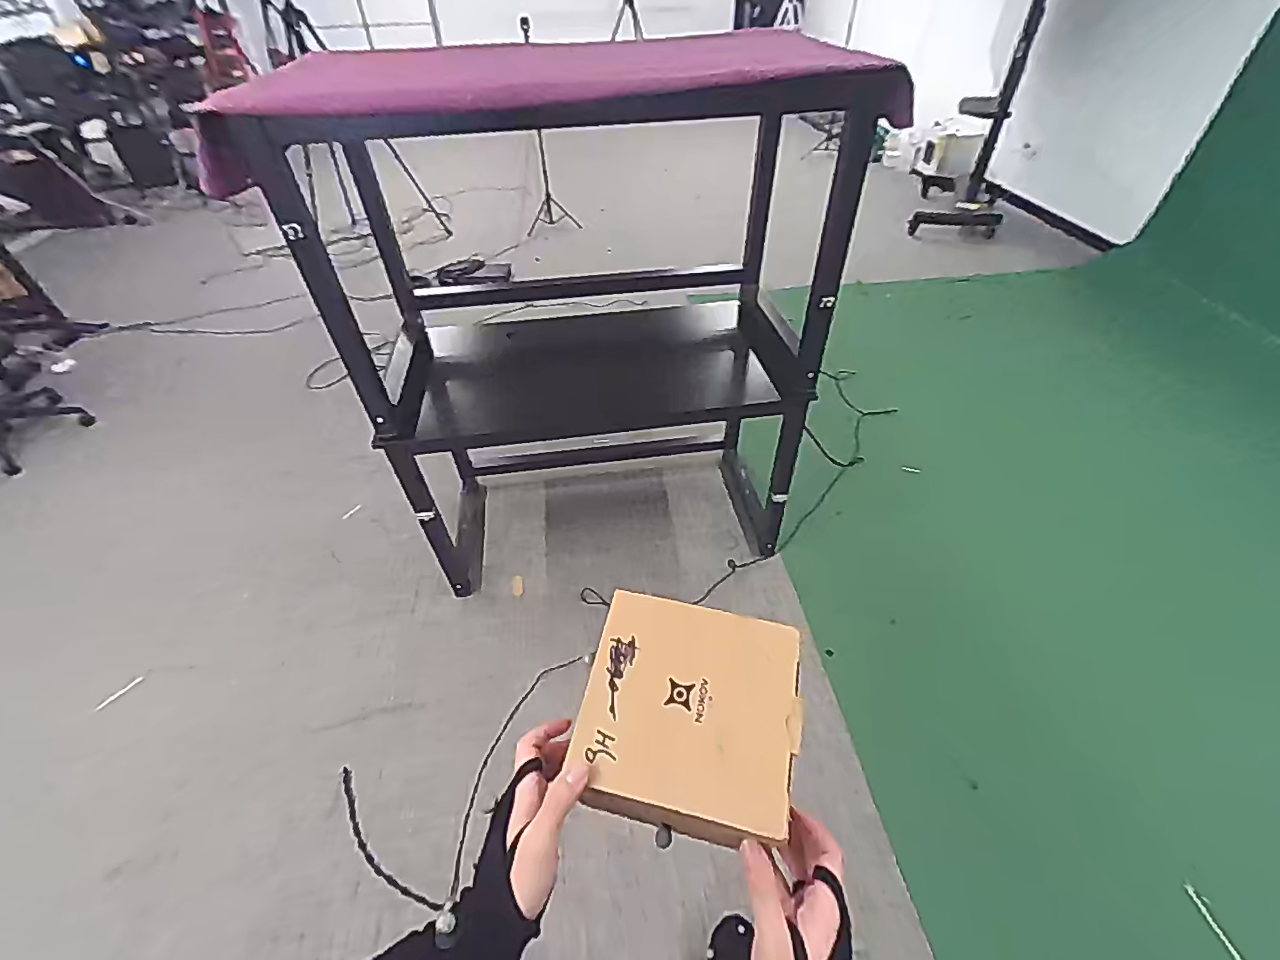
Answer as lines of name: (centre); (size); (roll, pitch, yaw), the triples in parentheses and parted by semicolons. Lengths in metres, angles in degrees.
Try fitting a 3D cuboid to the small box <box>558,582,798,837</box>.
small box: (0.039, 0.224, 0.518); (0.179, 0.176, 0.168); (11, 53, 9)
